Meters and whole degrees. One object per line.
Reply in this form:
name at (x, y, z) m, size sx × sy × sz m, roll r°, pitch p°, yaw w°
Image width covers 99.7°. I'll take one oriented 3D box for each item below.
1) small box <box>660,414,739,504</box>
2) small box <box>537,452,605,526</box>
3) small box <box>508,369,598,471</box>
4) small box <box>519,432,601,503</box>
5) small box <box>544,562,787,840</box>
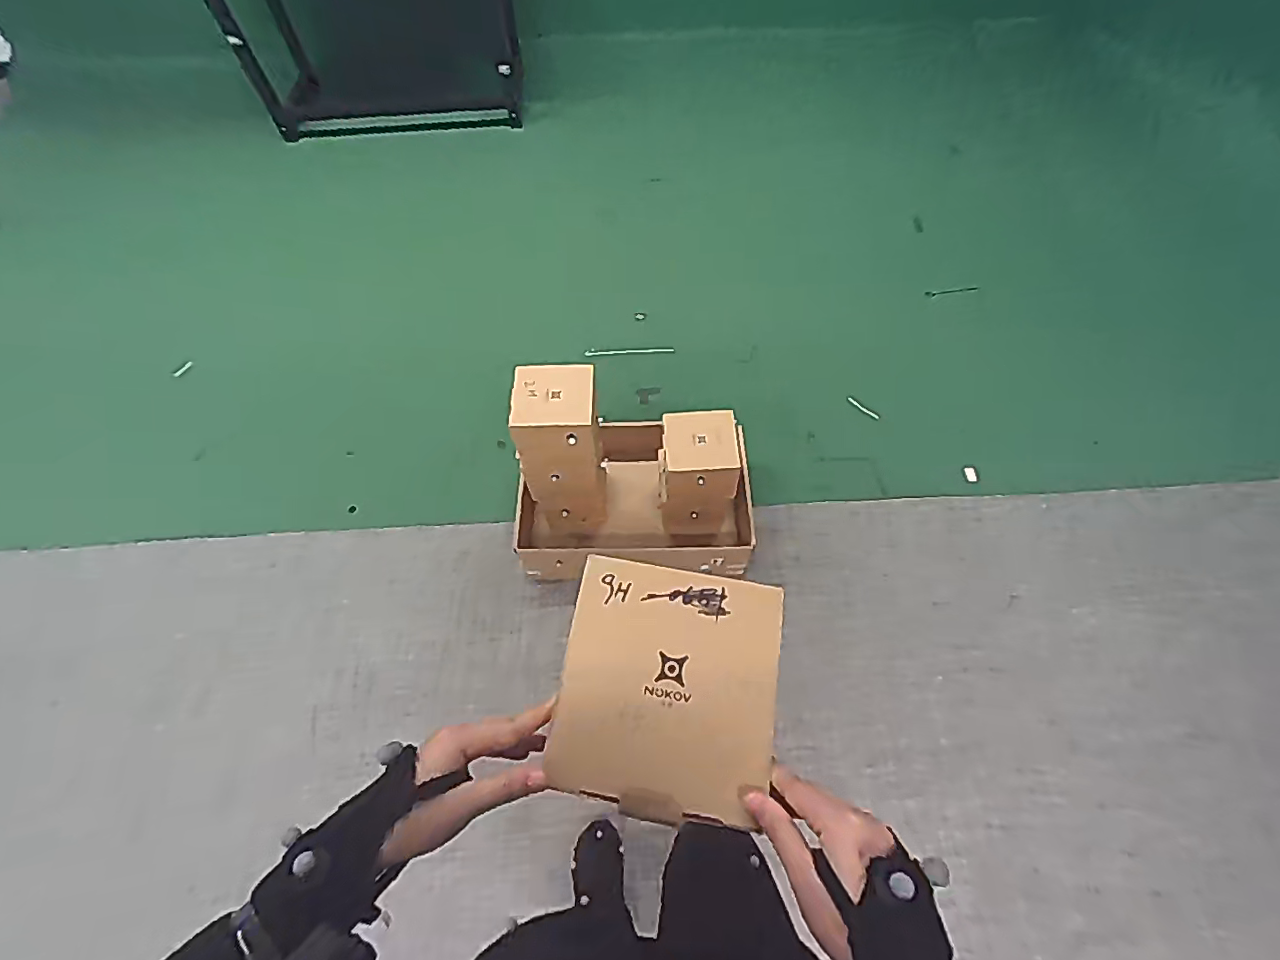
small box at (0.144, -0.047, 1.349) m, size 0.179 × 0.176 × 0.168 m, roll -3°, pitch 62°, yaw 1°
small box at (-0.186, 0.023, 1.508) m, size 0.168 × 0.176 × 0.179 m, roll -2°, pitch 61°, yaw 0°
small box at (-0.186, -0.131, 1.217) m, size 0.179 × 0.176 × 0.168 m, roll -2°, pitch 60°, yaw 0°
small box at (-0.194, -0.050, 1.361) m, size 0.179 × 0.176 × 0.168 m, roll -1°, pitch 61°, yaw 0°
small box at (0.025, 0.190, 0.488) m, size 0.168 × 0.176 × 0.179 m, roll 9°, pitch 68°, yaw 4°
